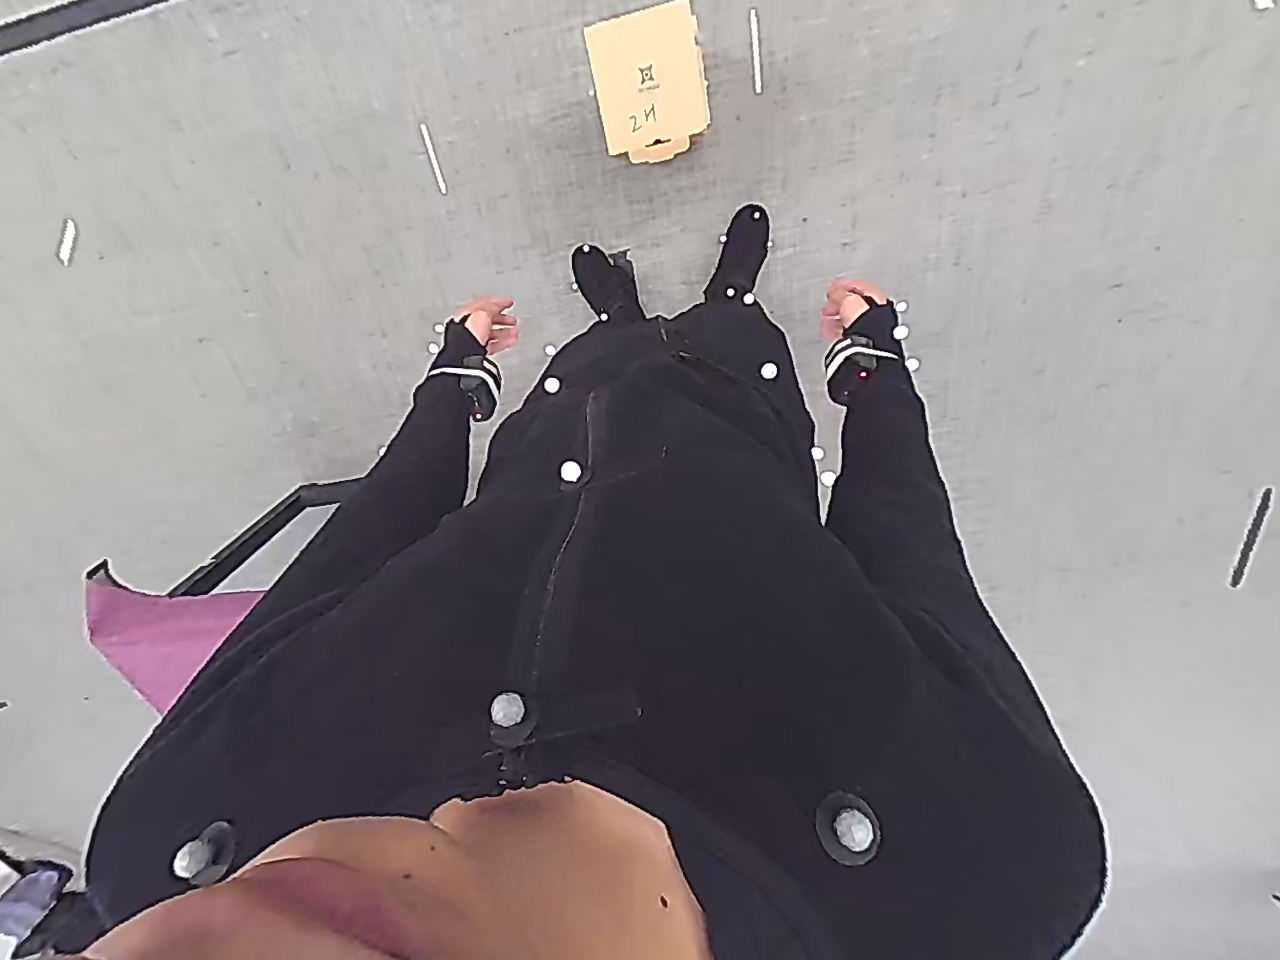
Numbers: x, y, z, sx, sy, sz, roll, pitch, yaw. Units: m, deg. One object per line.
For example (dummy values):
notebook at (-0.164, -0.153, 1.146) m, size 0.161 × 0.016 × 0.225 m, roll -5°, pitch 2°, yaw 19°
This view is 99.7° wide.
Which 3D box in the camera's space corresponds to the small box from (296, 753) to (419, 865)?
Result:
small box at (-0.673, 0.797, 1.316) m, size 0.168 × 0.176 × 0.179 m, roll -13°, pitch 117°, yaw 10°

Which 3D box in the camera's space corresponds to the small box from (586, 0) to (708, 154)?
small box at (0.016, -0.668, 0.908) m, size 0.168 × 0.176 × 0.179 m, roll -10°, pitch 118°, yaw 8°
